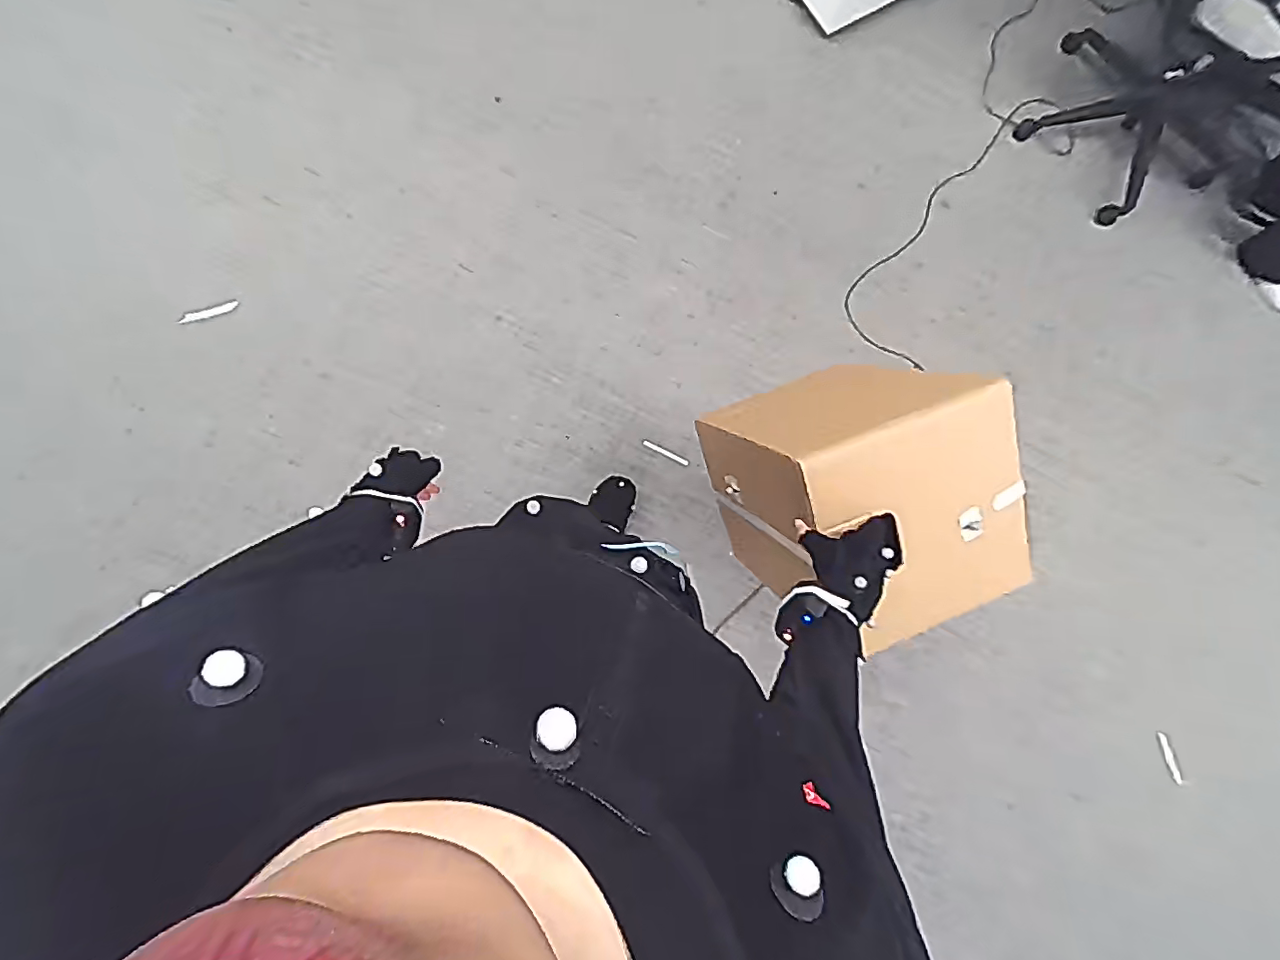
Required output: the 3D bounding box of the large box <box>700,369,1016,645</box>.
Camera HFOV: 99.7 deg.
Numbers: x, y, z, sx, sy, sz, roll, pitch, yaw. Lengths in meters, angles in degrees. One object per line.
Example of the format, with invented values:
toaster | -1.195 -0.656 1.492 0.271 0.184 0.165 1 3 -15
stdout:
large box | 0.341 0.007 0.932 0.320 0.408 0.320 -19 107 -7
